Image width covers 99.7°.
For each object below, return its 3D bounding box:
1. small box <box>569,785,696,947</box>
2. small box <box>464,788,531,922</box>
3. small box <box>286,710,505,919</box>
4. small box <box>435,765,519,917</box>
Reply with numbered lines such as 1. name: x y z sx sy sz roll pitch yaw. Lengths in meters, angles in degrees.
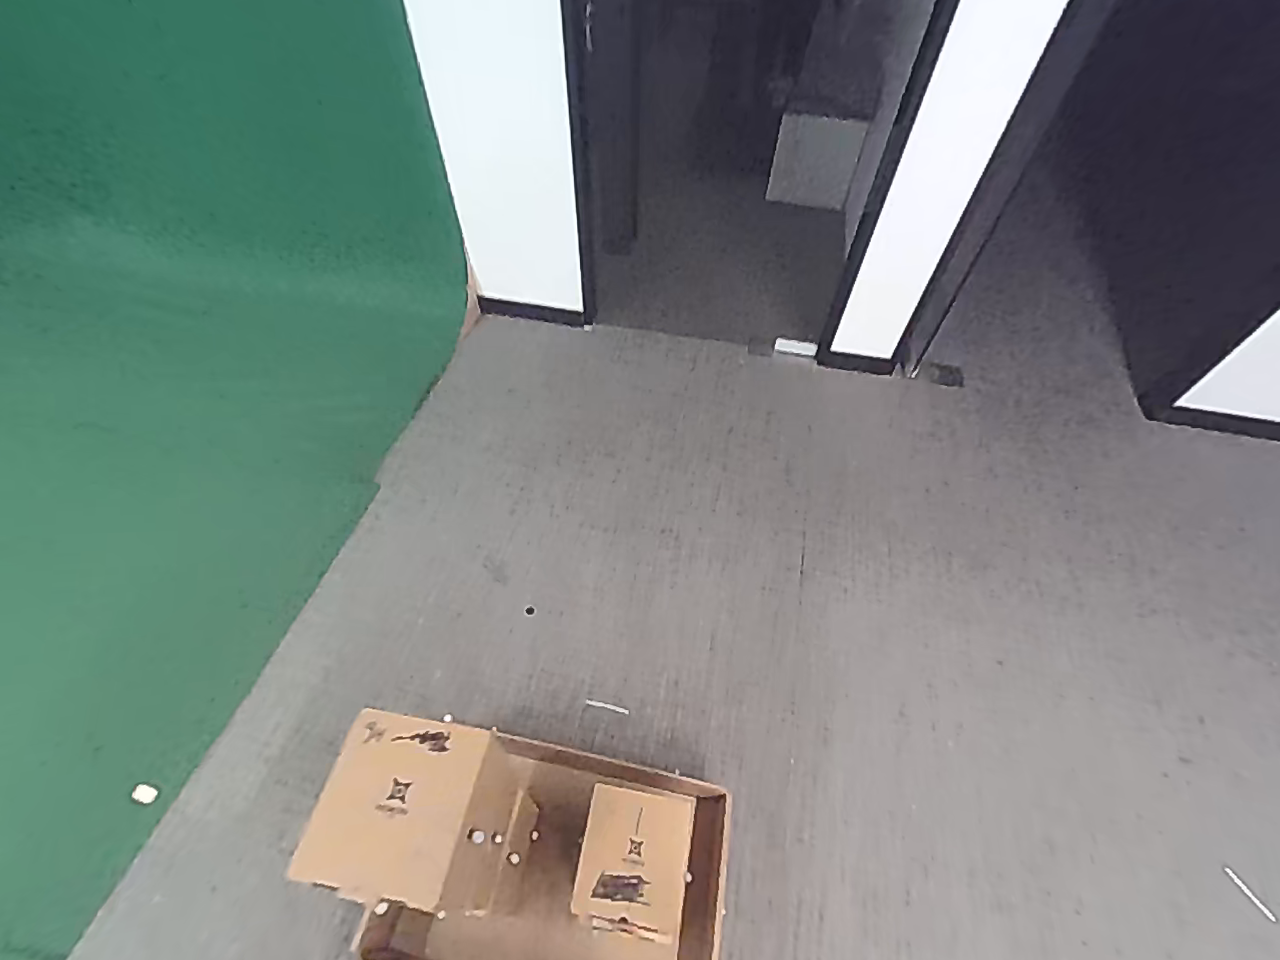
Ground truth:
1. small box: -0.008 0.638 0.901 0.168 0.176 0.179 12 53 6
2. small box: -0.292 0.617 0.916 0.168 0.176 0.179 11 53 5
3. small box: -0.276 0.408 0.664 0.168 0.176 0.179 10 53 3
4. small box: -0.285 0.511 0.791 0.168 0.176 0.179 10 52 4
